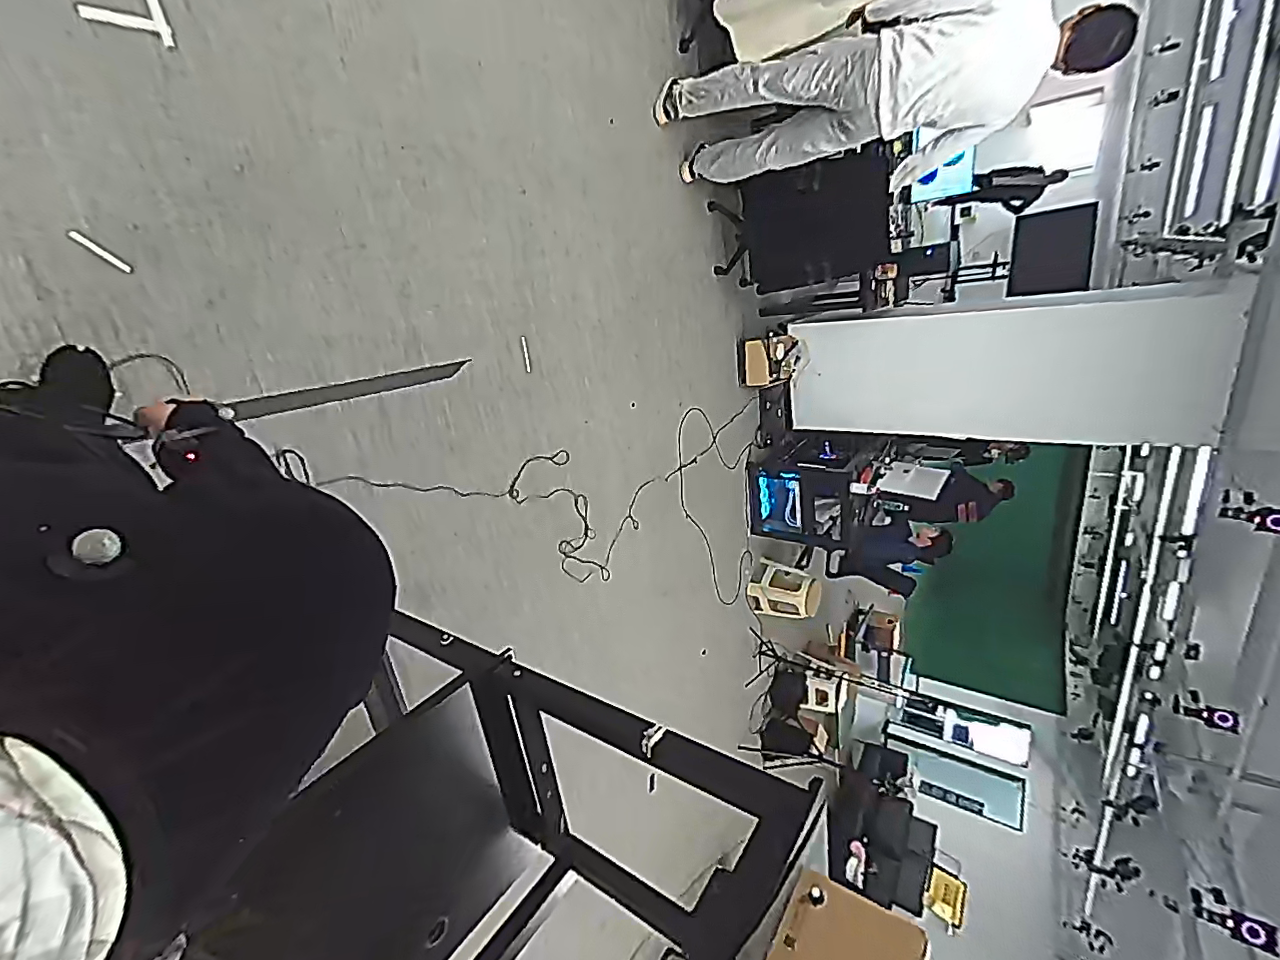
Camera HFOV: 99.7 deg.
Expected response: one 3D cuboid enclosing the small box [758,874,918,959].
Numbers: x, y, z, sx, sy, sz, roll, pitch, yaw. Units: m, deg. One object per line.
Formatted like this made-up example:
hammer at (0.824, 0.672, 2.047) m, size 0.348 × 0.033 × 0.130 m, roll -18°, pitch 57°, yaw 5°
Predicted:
small box at (0.263, 0.680, 0.726) m, size 0.168 × 0.176 × 0.179 m, roll -32°, pitch 122°, yaw -47°
